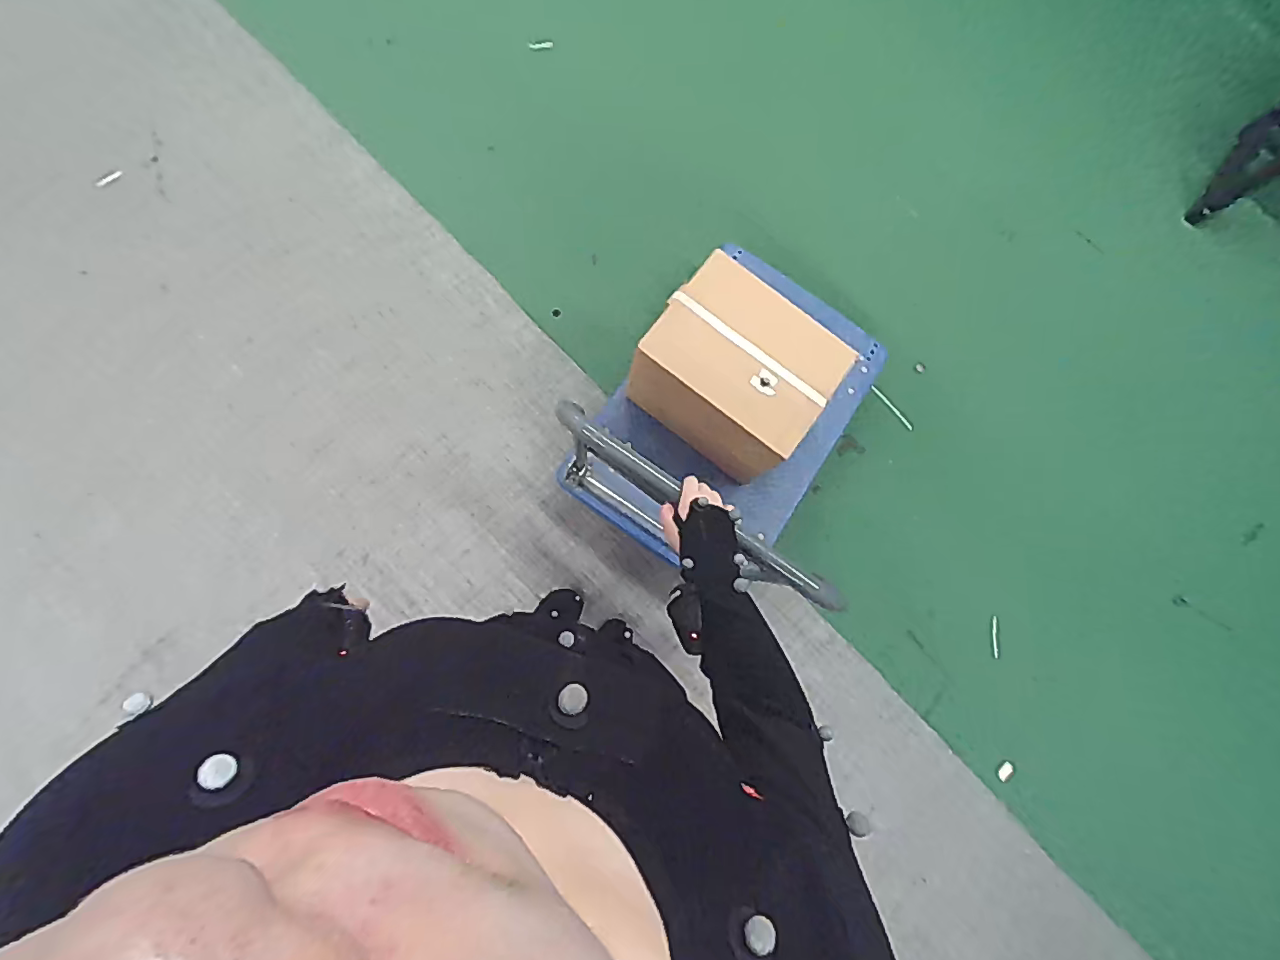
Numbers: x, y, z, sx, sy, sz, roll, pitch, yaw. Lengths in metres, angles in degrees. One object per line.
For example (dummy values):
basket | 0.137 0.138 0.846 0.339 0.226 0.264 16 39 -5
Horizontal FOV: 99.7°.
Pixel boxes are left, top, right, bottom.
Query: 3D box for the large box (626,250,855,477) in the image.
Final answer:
large box | 0.224 -0.266 1.341 0.408 0.320 0.320 37 77 1
